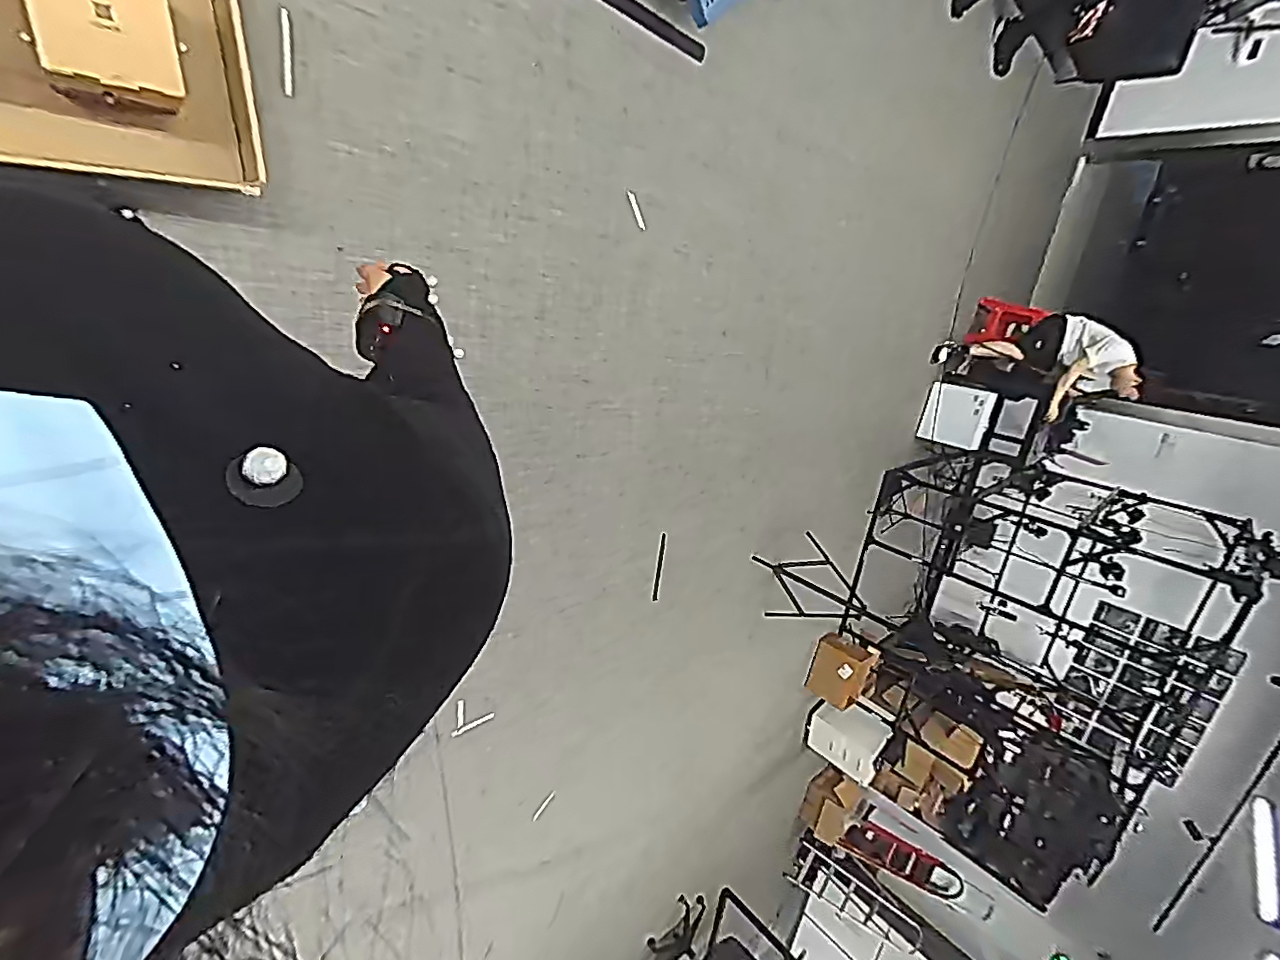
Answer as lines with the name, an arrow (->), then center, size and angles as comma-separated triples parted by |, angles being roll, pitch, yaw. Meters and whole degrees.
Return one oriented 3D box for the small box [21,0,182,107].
small box -> -0.860, -0.724, 0.858 | 0.168, 0.176, 0.179 | -14, 119, -40
